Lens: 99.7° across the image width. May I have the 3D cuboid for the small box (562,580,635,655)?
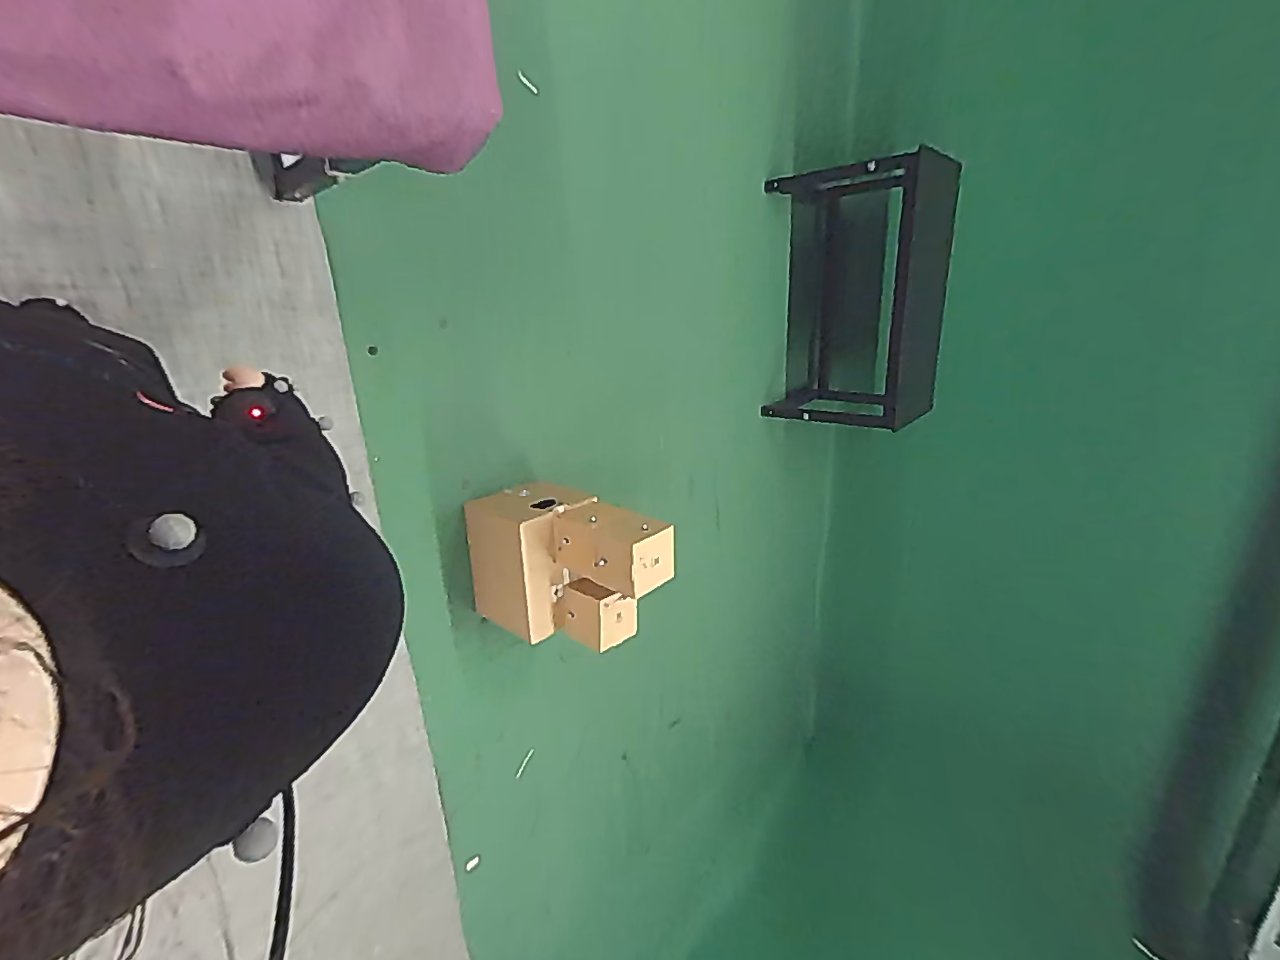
[{"bbox_3d":[-0.135,0.423,1.720,0.168,0.176,0.179,-13,109,-48],"label":"small box"}]

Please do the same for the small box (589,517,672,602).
[{"bbox_3d":[-0.025,0.217,1.540,0.179,0.176,0.168,-20,115,-45],"label":"small box"}]

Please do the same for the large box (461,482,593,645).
[{"bbox_3d":[-0.359,0.257,1.796,0.320,0.320,0.408,-19,115,-45],"label":"large box"}]

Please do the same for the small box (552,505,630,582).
[{"bbox_3d":[-0.147,0.185,1.646,0.179,0.176,0.168,-19,115,-45],"label":"small box"}]
